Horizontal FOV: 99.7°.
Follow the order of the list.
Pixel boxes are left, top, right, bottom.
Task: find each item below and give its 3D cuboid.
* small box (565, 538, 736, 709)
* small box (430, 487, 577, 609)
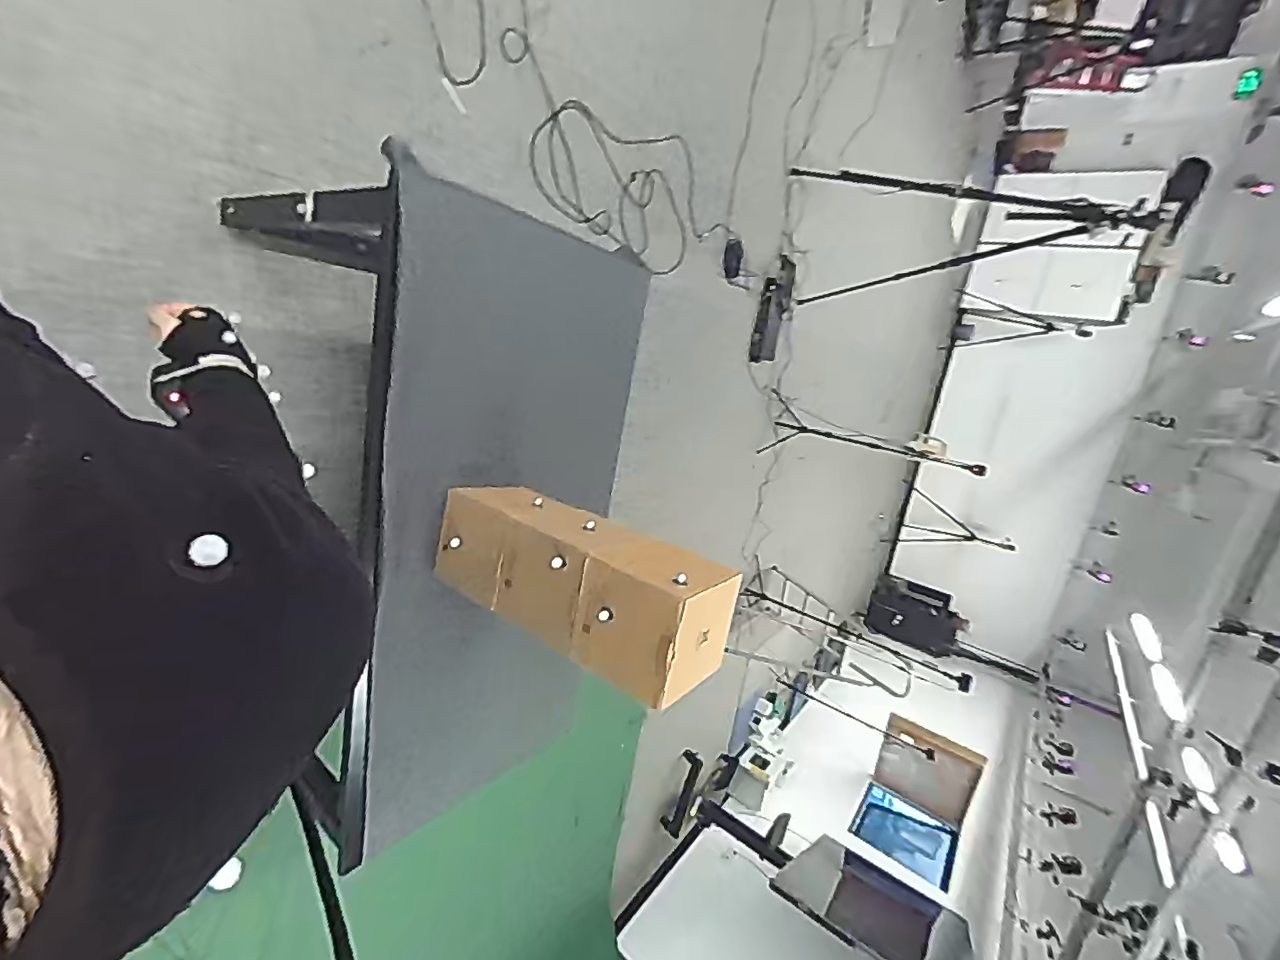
[{"bbox_3d":[0.016,0.197,0.807,0.179,0.176,0.168,-7,112,-55],"label":"small box"},{"bbox_3d":[-0.247,0.112,0.980,0.179,0.176,0.168,1,105,-56],"label":"small box"}]
